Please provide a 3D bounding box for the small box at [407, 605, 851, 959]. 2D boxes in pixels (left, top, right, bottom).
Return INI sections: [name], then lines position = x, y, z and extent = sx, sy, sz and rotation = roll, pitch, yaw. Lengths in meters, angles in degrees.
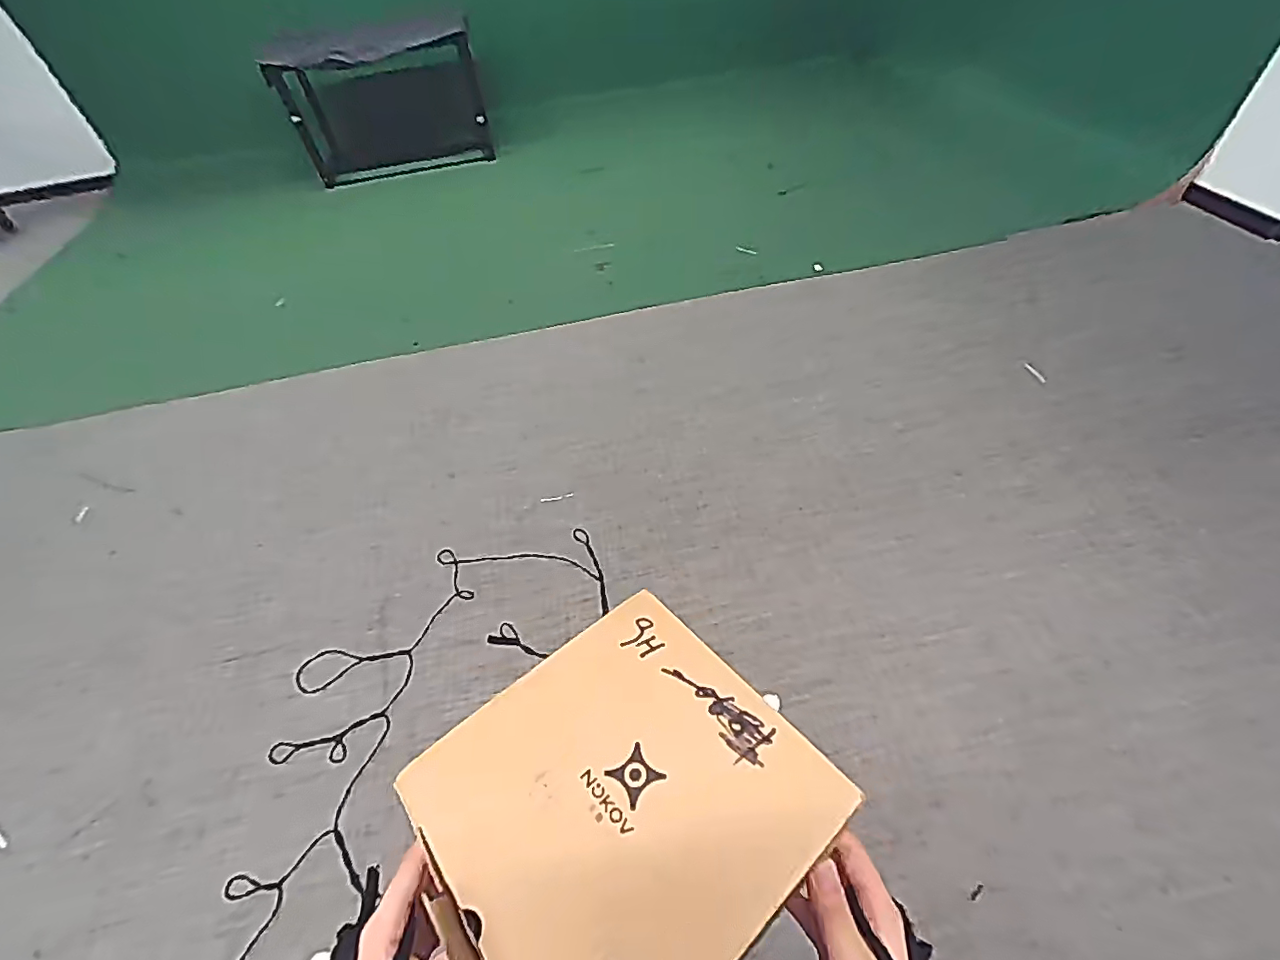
[small box]
position = -0.003, 0.221, 0.333
extent = 0.179, 0.176, 0.168
rotation = -33, 51, -26
